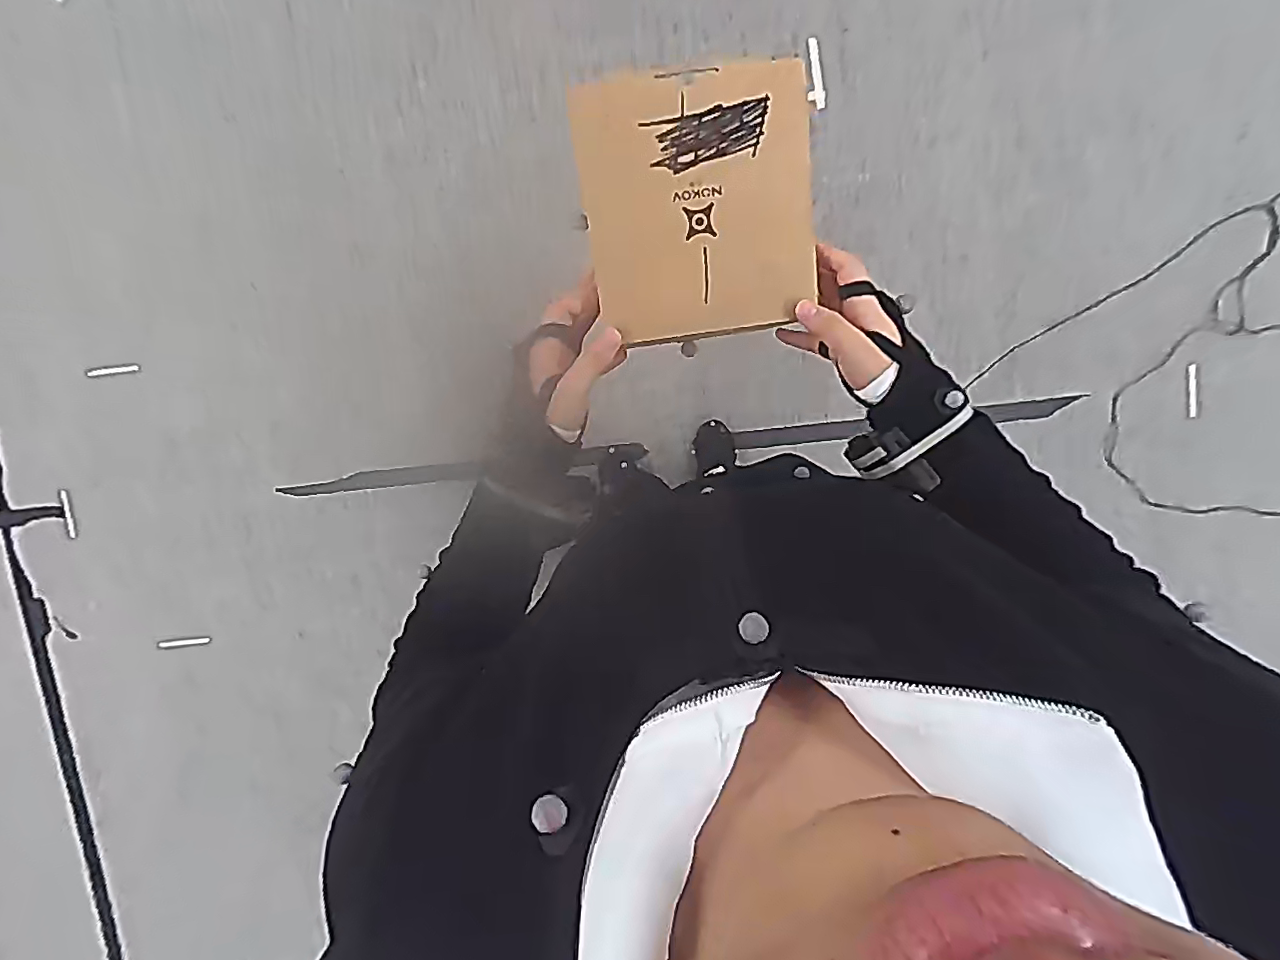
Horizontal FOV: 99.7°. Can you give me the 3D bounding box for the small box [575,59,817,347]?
[{"bbox_3d":[0.041,-0.216,0.471,0.168,0.176,0.179,-8,103,1],"label":"small box"}]
